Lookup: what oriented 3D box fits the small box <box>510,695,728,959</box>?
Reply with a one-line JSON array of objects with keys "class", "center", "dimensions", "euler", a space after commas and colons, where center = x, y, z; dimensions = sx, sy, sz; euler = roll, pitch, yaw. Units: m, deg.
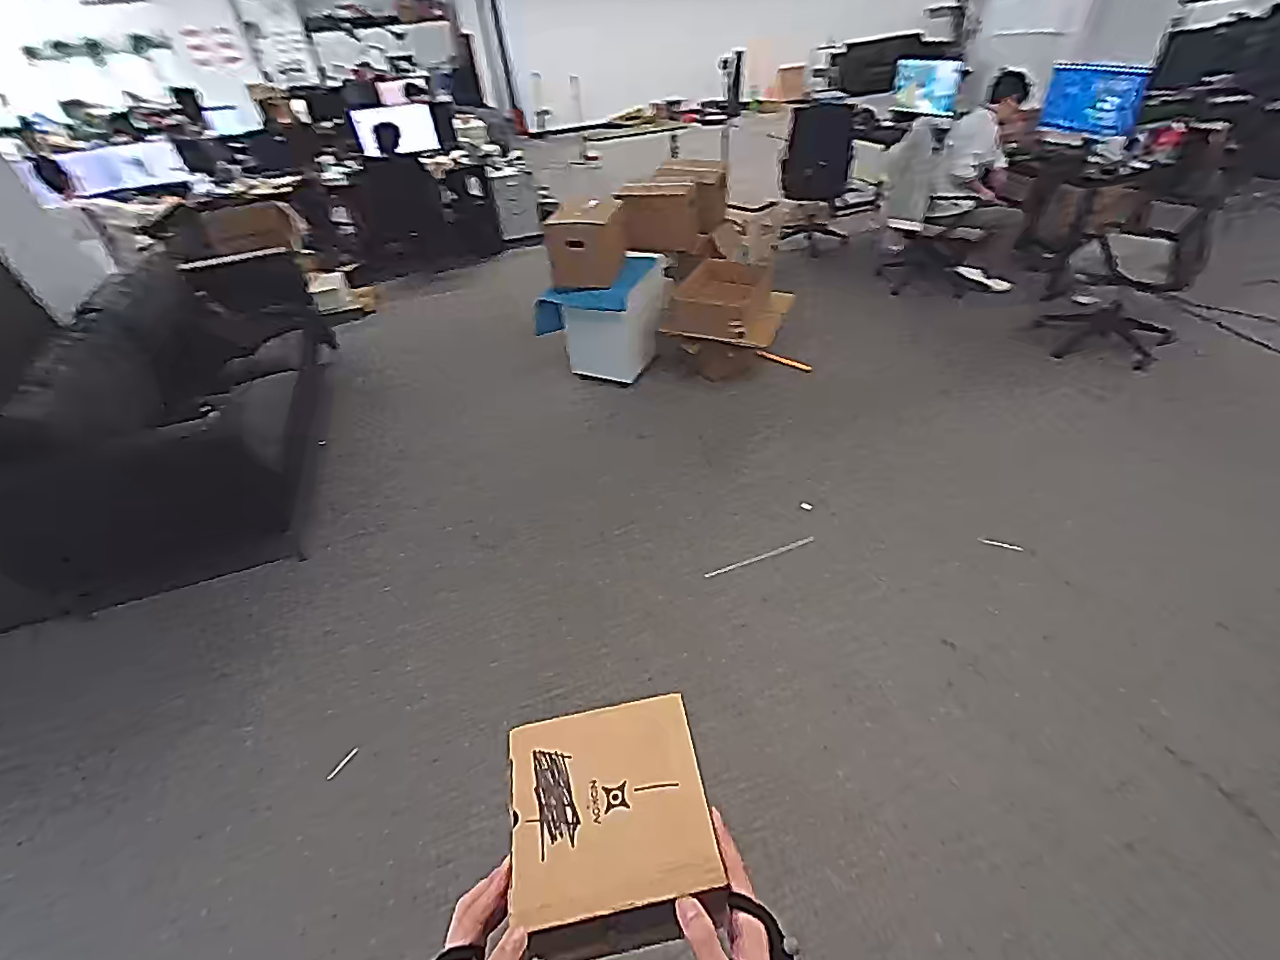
[{"class": "small box", "center": [-0.018, 0.343, 0.530], "dimensions": [0.179, 0.176, 0.168], "euler": [-10, 41, -3]}]
